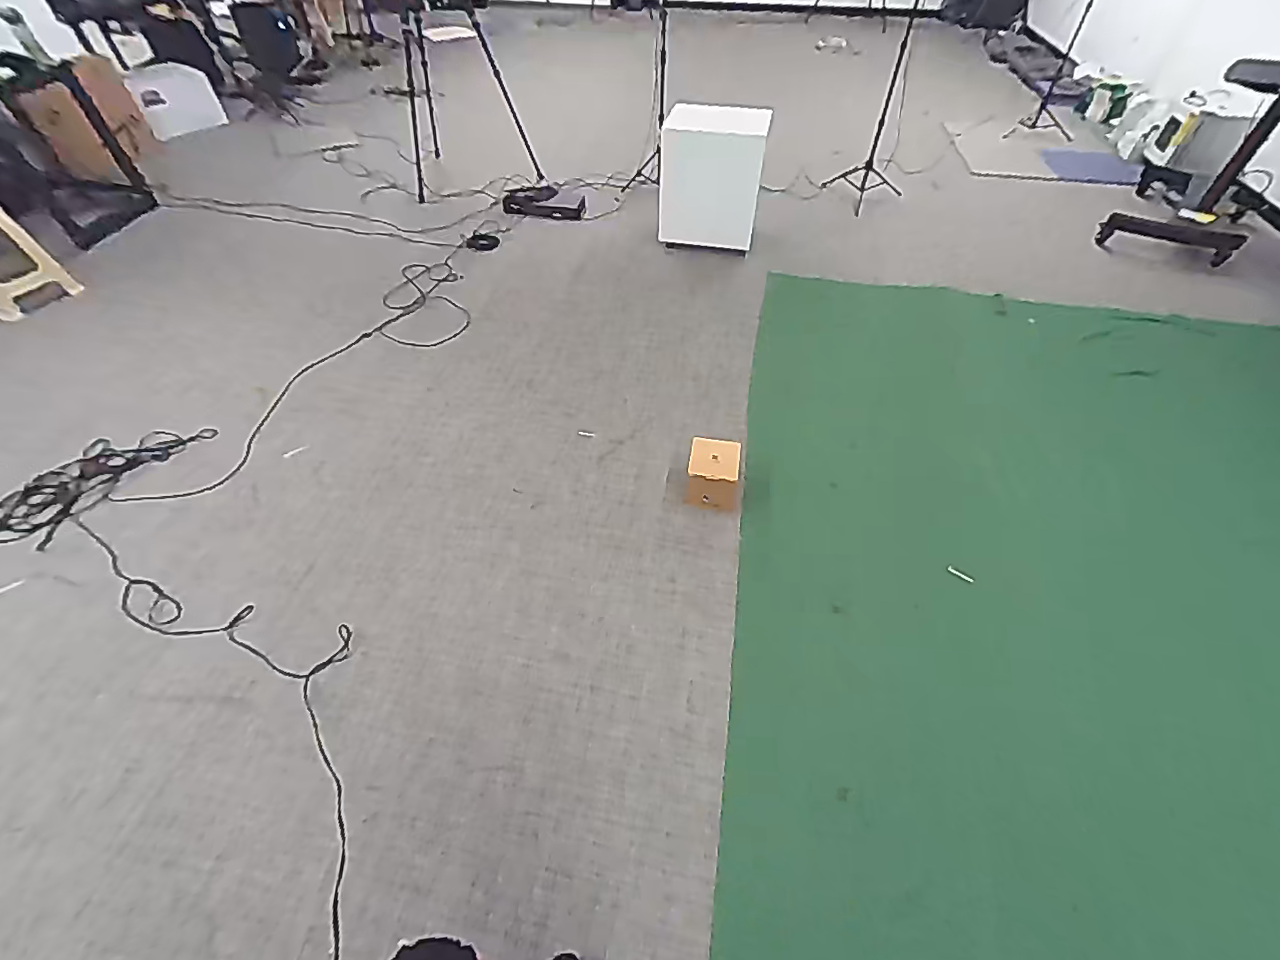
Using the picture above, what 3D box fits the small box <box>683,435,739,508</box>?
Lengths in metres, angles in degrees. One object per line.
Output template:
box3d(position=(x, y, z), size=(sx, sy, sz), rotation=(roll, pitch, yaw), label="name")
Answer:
box3d(position=(0.241, -0.029, 1.866), size=(0.168, 0.176, 0.179), rotation=(8, 50, 6), label="small box")
